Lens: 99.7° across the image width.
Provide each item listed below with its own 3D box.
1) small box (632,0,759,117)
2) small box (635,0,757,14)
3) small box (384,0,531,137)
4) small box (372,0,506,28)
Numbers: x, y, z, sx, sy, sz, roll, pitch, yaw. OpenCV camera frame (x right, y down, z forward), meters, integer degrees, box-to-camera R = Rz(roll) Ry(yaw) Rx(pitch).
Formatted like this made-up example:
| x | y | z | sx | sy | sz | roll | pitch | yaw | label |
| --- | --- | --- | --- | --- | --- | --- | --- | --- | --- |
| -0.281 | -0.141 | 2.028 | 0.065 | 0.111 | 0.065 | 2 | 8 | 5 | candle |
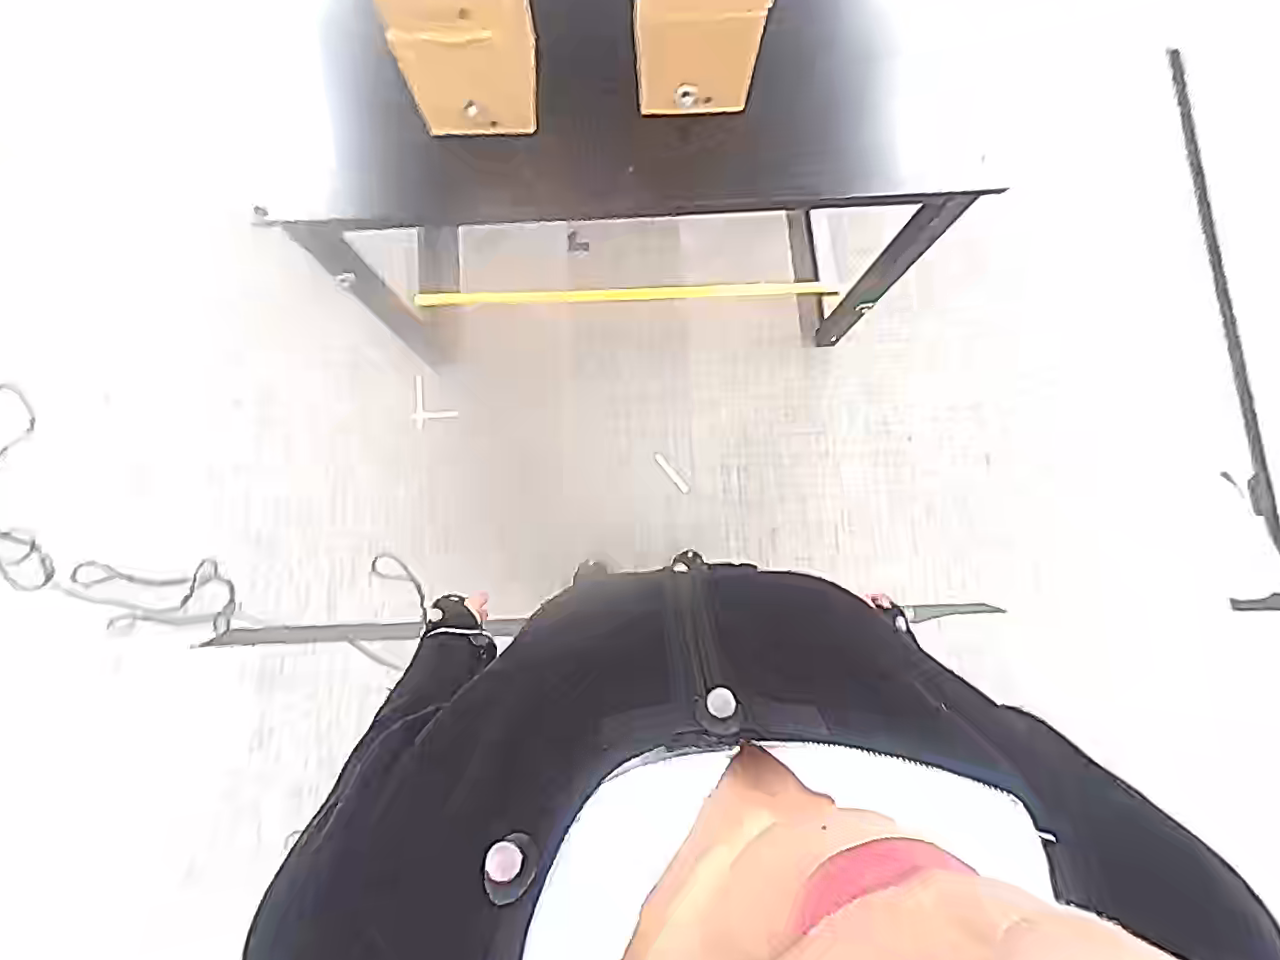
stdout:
| x | y | z | sx | sy | sz | roll | pitch | yaw | label |
| --- | --- | --- | --- | --- | --- | --- | --- | --- | --- |
| 0.074 | -0.695 | 0.818 | 0.168 | 0.176 | 0.179 | -4 | 83 | 0 | small box |
| 0.071 | -0.714 | 0.654 | 0.179 | 0.176 | 0.168 | -6 | 82 | -1 | small box |
| -0.260 | -0.653 | 0.805 | 0.168 | 0.176 | 0.179 | -2 | 82 | -1 | small box |
| -0.261 | -0.684 | 0.644 | 0.168 | 0.176 | 0.179 | -5 | 83 | -2 | small box |
